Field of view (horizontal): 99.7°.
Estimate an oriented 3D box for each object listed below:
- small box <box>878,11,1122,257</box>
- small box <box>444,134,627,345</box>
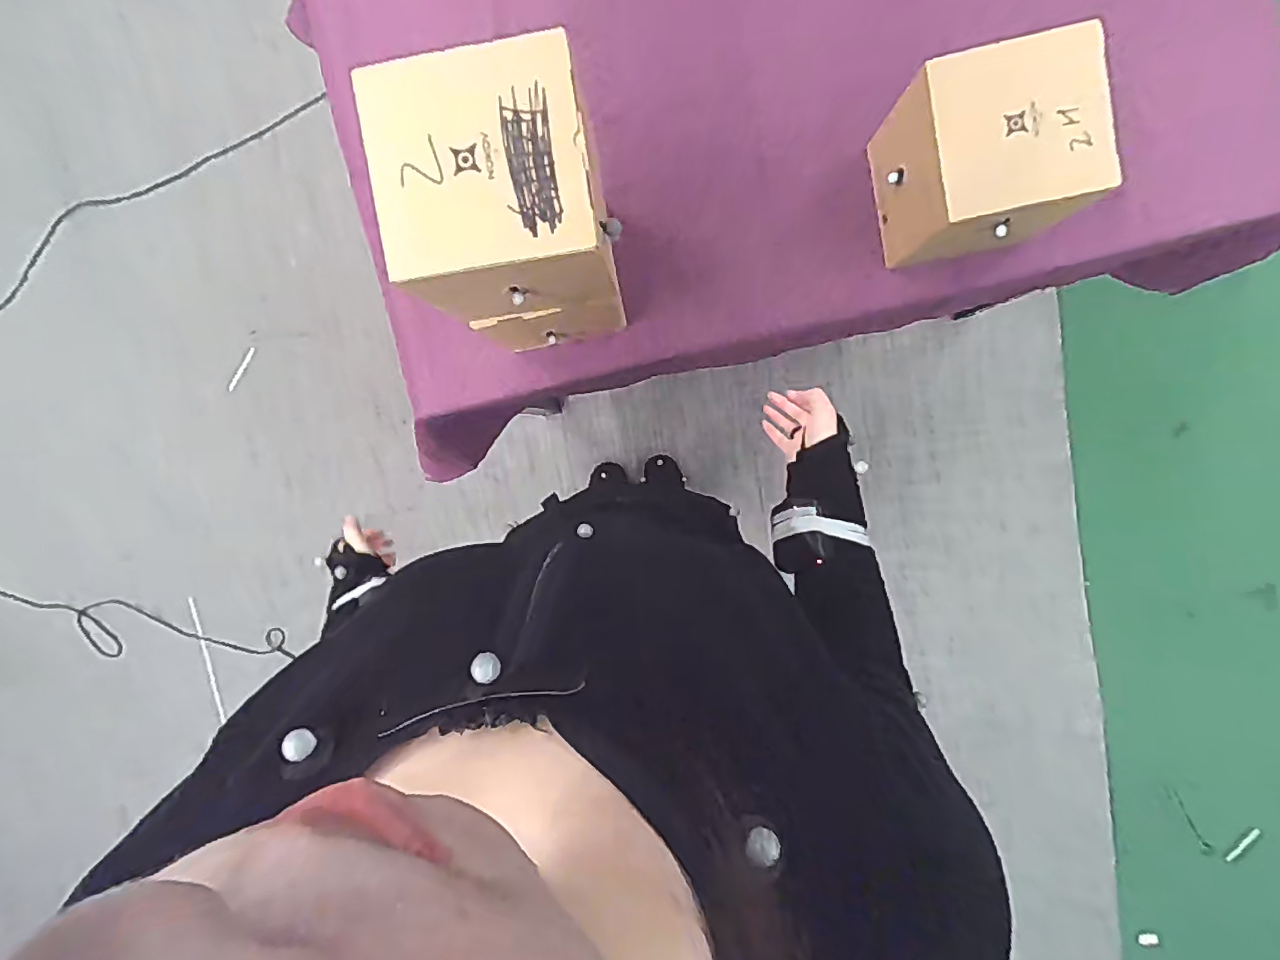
[{"bbox_3d":[0.396,-0.378,0.629,0.179,0.176,0.168,-11,96,4],"label":"small box"},{"bbox_3d":[-0.115,-0.279,0.667,0.168,0.176,0.179,-11,96,4],"label":"small box"}]
